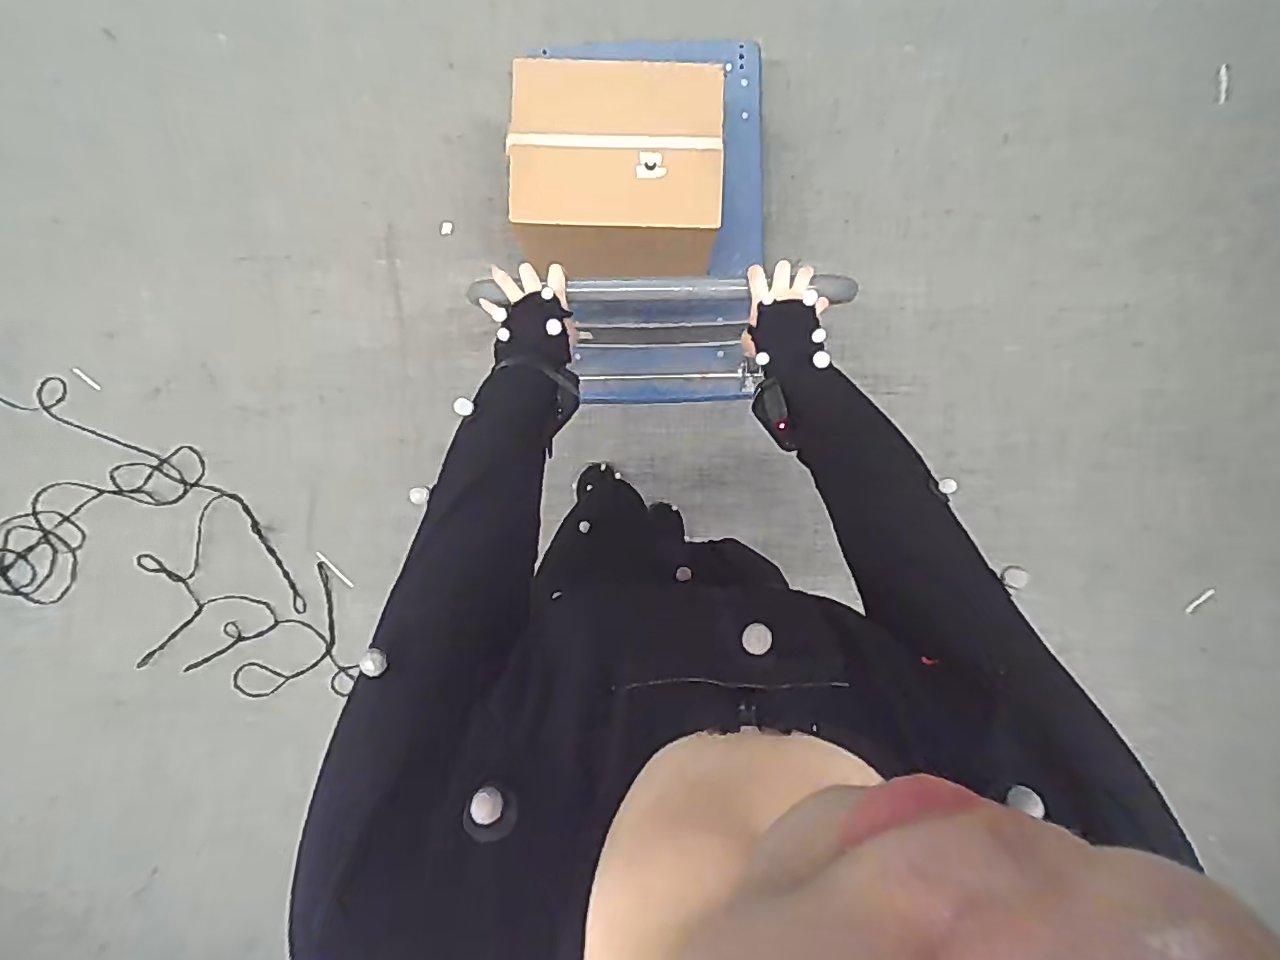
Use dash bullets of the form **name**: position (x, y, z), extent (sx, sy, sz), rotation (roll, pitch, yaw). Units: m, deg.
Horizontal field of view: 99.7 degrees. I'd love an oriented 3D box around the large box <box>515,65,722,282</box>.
- **large box**: position (-0.045, -0.644, 1.191), extent (0.408, 0.320, 0.320), rotation (1, 90, -1)
